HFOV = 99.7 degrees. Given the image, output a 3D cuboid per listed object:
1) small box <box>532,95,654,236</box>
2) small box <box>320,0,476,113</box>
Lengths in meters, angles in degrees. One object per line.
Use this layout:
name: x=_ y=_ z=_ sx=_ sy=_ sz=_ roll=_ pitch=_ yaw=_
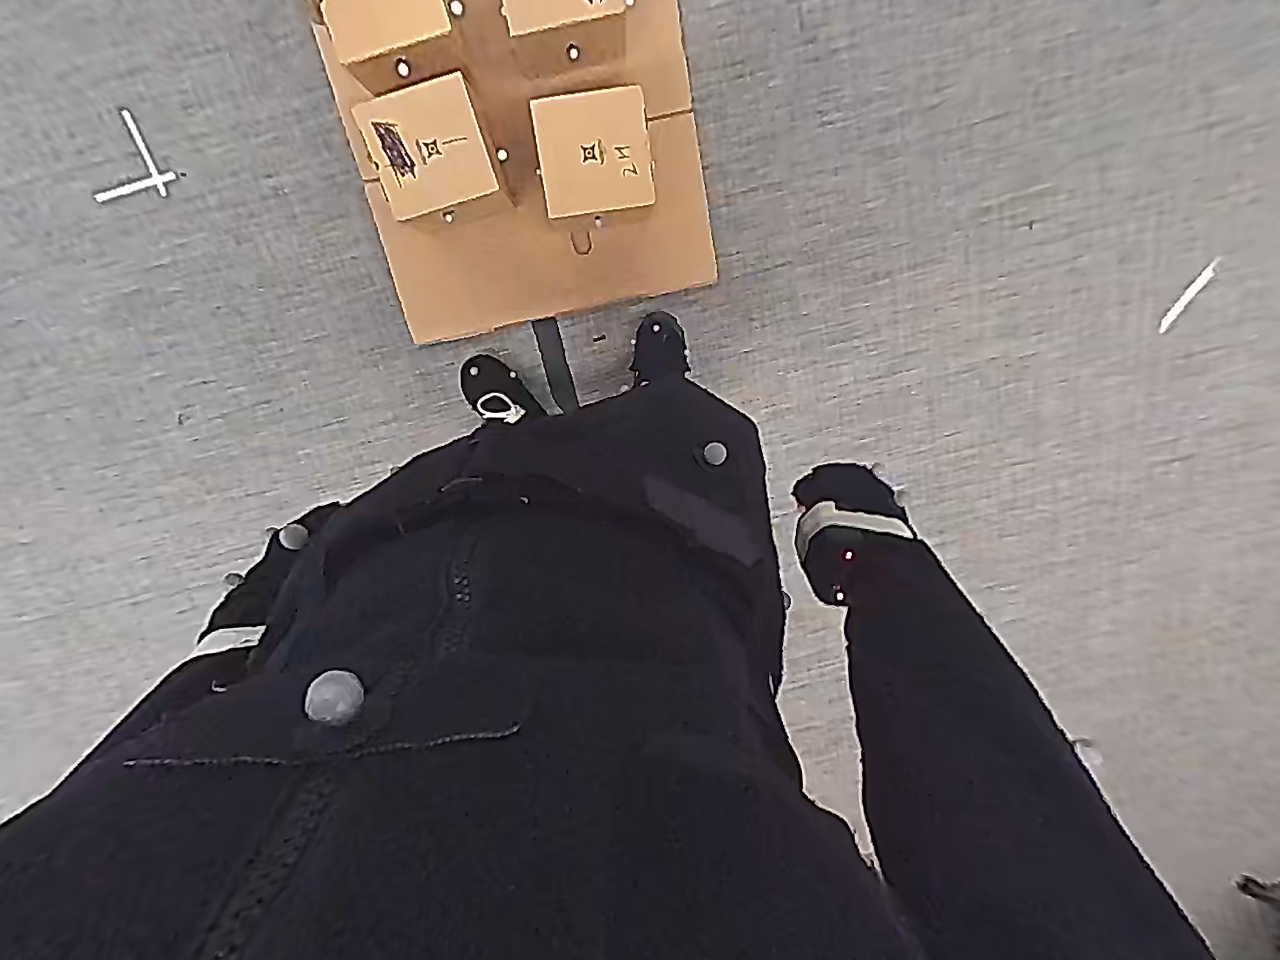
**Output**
small box: x=-0.074 y=-0.524 z=0.925 sx=0.179 sy=0.176 sz=0.168 roll=-8 pitch=107 yaw=-1
small box: x=-0.374 y=-0.717 z=0.851 sx=0.179 sy=0.176 sz=0.168 roll=-15 pitch=107 yaw=3
